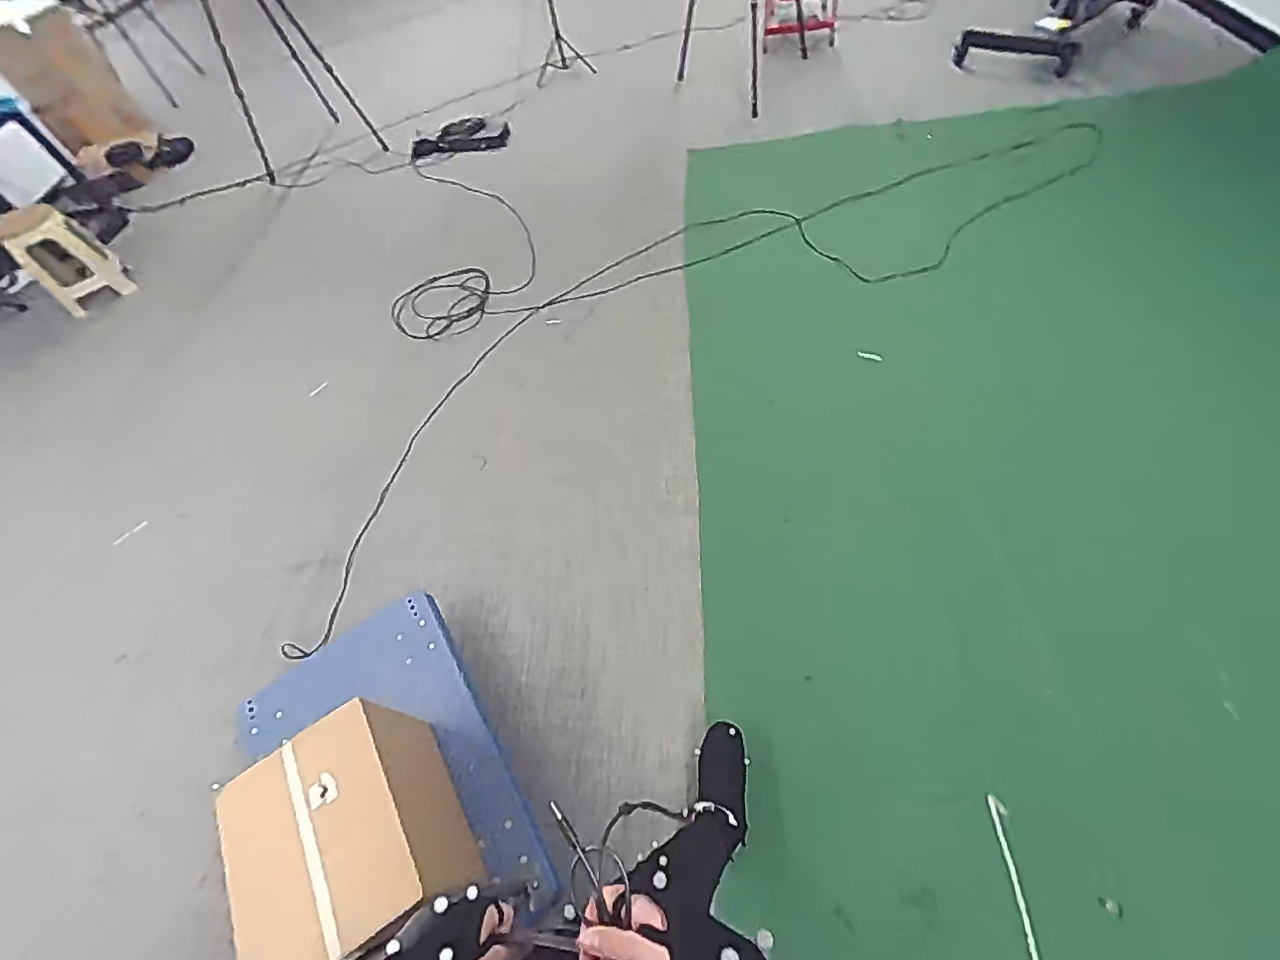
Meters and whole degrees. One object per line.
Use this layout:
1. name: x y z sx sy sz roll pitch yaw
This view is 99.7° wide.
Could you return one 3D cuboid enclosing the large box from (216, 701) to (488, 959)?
1. large box: -0.575 0.743 1.106 0.320 0.320 0.408 -33 56 -12
